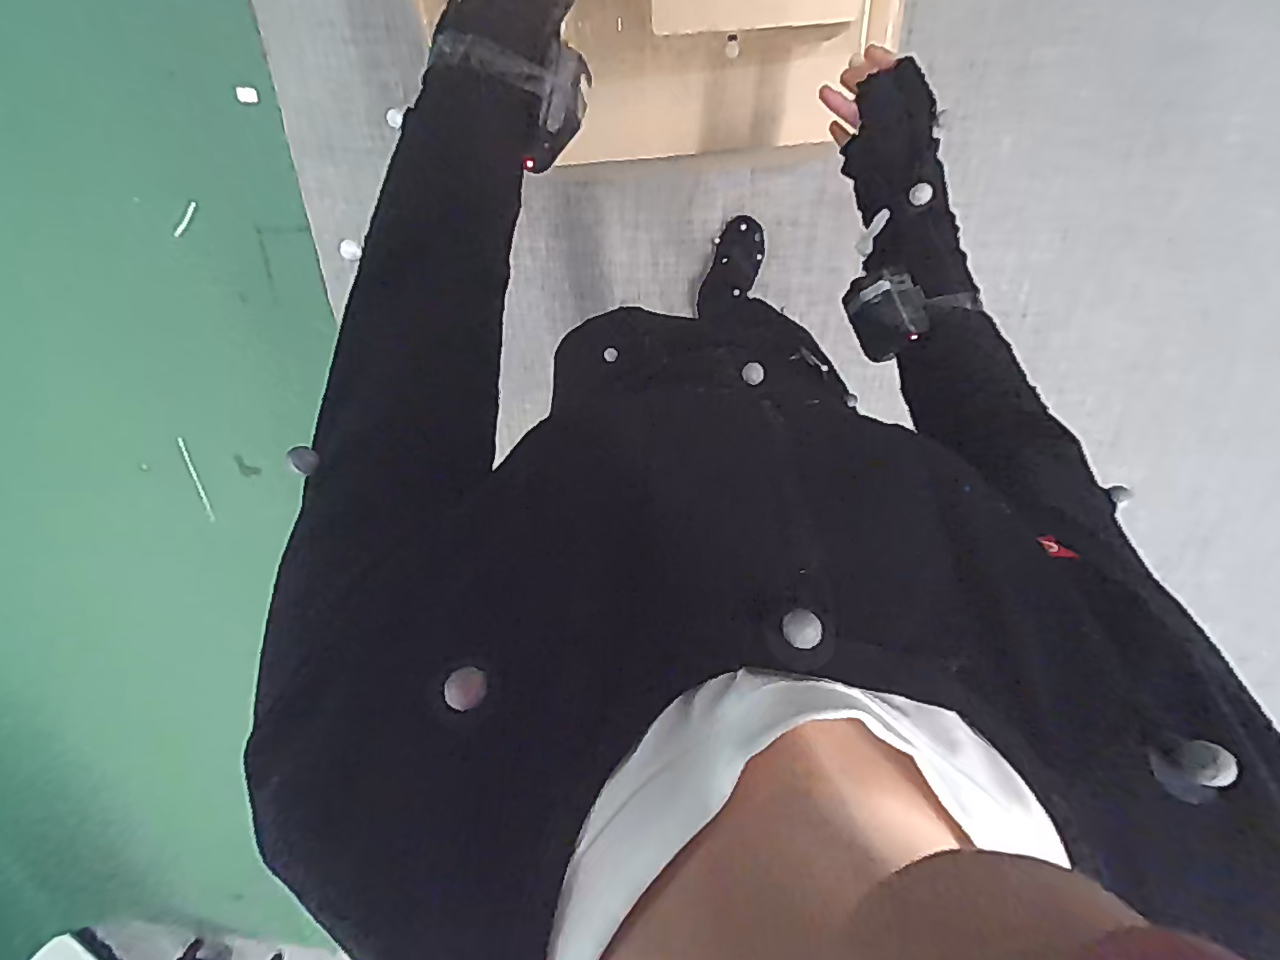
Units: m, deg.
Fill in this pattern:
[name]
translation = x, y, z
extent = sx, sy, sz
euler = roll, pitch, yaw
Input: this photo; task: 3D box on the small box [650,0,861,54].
[small box]
translation = 0.104, -0.495, 0.482
extent = 0.179, 0.176, 0.168
euler = 2, 123, 7
